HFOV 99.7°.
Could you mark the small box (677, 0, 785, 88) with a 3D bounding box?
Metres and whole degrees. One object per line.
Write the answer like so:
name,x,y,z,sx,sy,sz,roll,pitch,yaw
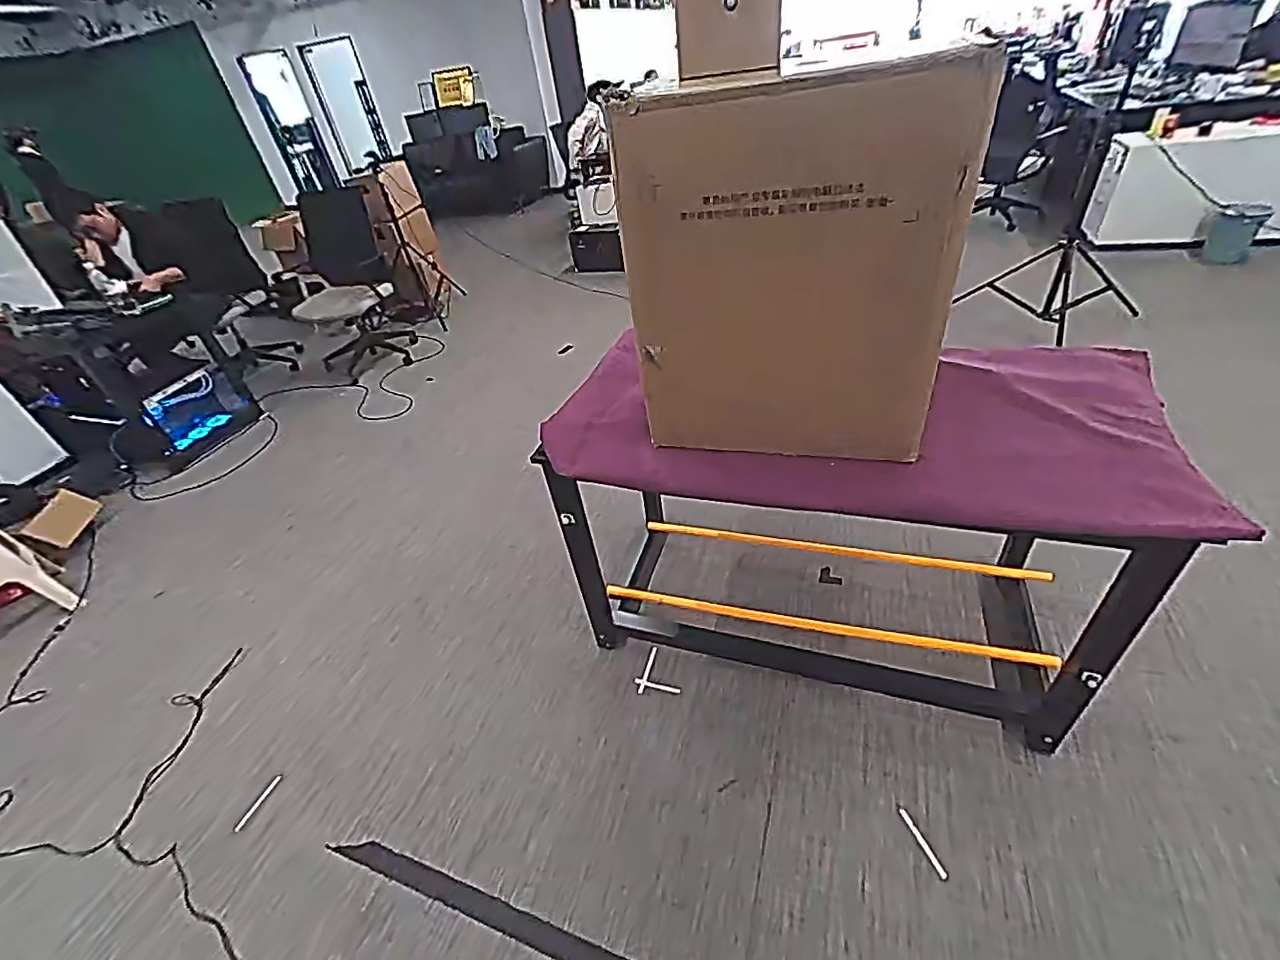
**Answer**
small box,0.154,-0.768,0.894,0.168,0.176,0.179,3,40,13
